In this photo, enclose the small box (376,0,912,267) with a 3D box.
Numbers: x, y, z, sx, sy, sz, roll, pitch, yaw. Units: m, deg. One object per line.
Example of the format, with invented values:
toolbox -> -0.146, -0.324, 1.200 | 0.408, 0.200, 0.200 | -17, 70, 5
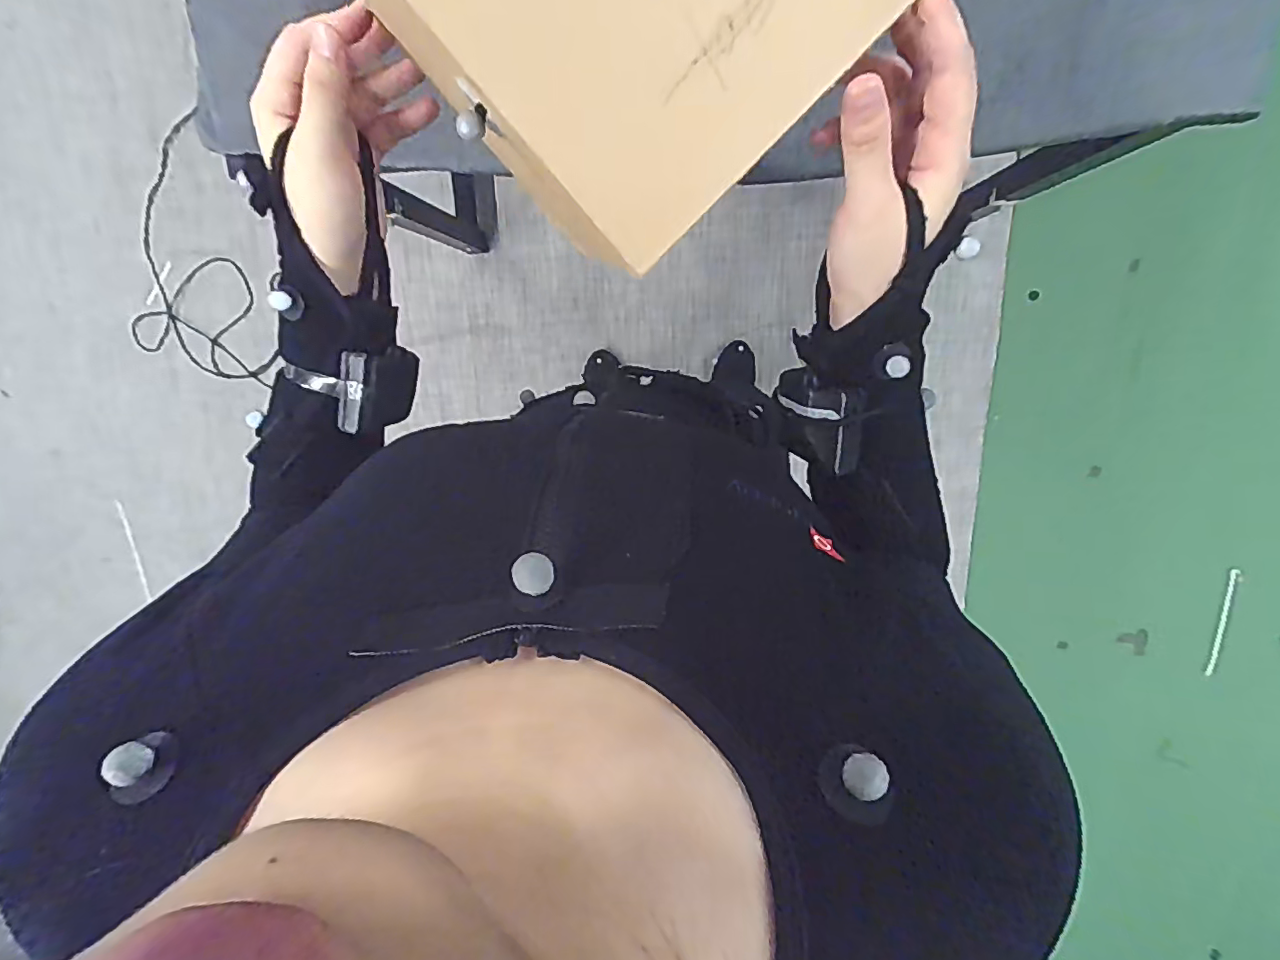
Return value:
small box -> -0.017, -0.232, 0.267 | 0.168, 0.176, 0.179 | -42, 118, 8
